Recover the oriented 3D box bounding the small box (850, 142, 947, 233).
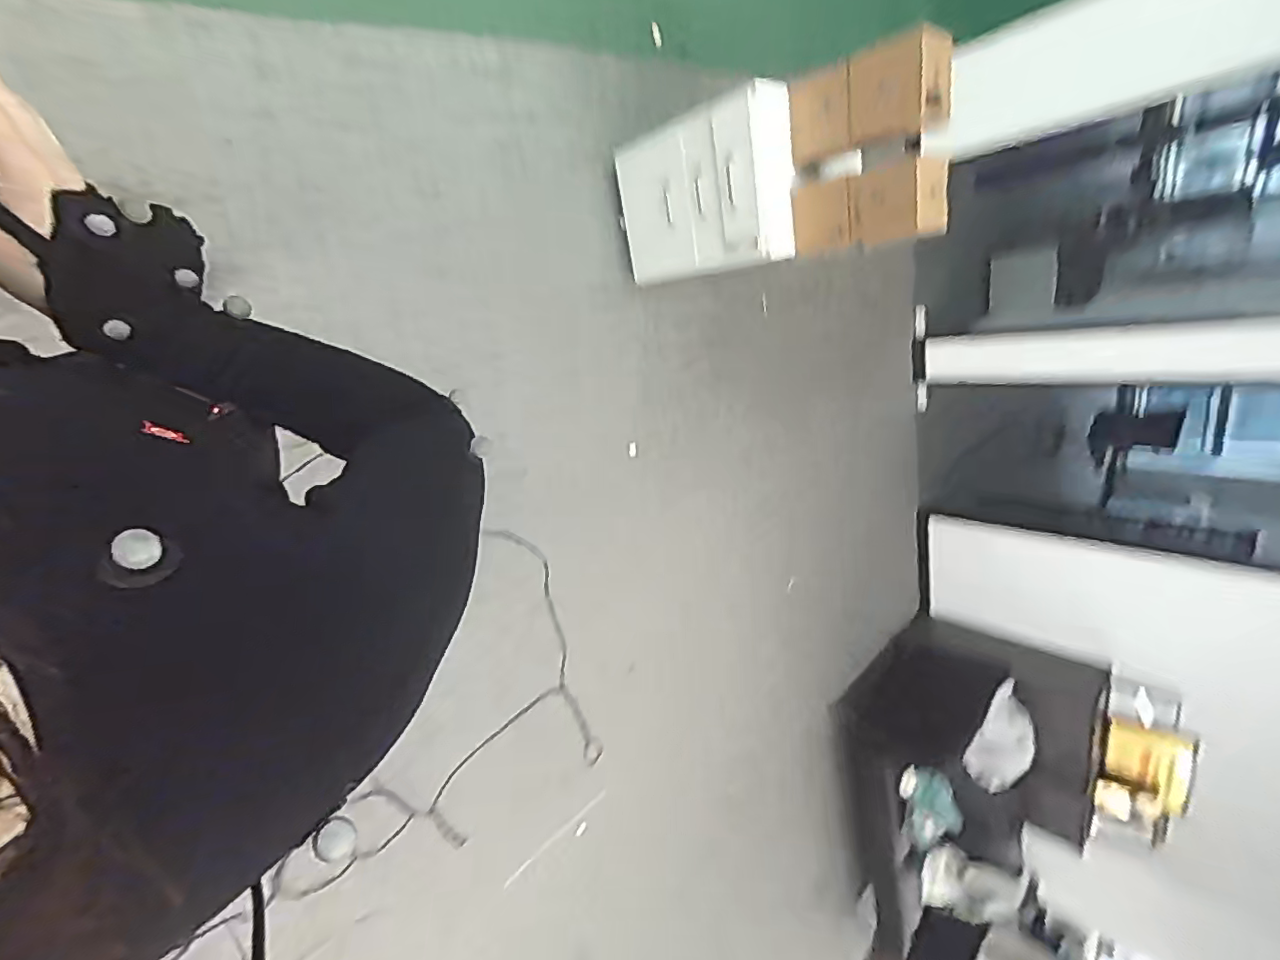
[{"bbox_3d":[0.633,-0.712,1.330,0.179,0.176,0.168,-24,115,-37],"label":"small box"}]

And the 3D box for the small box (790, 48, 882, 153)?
[{"bbox_3d":[0.499,-0.960,1.383,0.168,0.176,0.179,-26,116,-35],"label":"small box"}]
